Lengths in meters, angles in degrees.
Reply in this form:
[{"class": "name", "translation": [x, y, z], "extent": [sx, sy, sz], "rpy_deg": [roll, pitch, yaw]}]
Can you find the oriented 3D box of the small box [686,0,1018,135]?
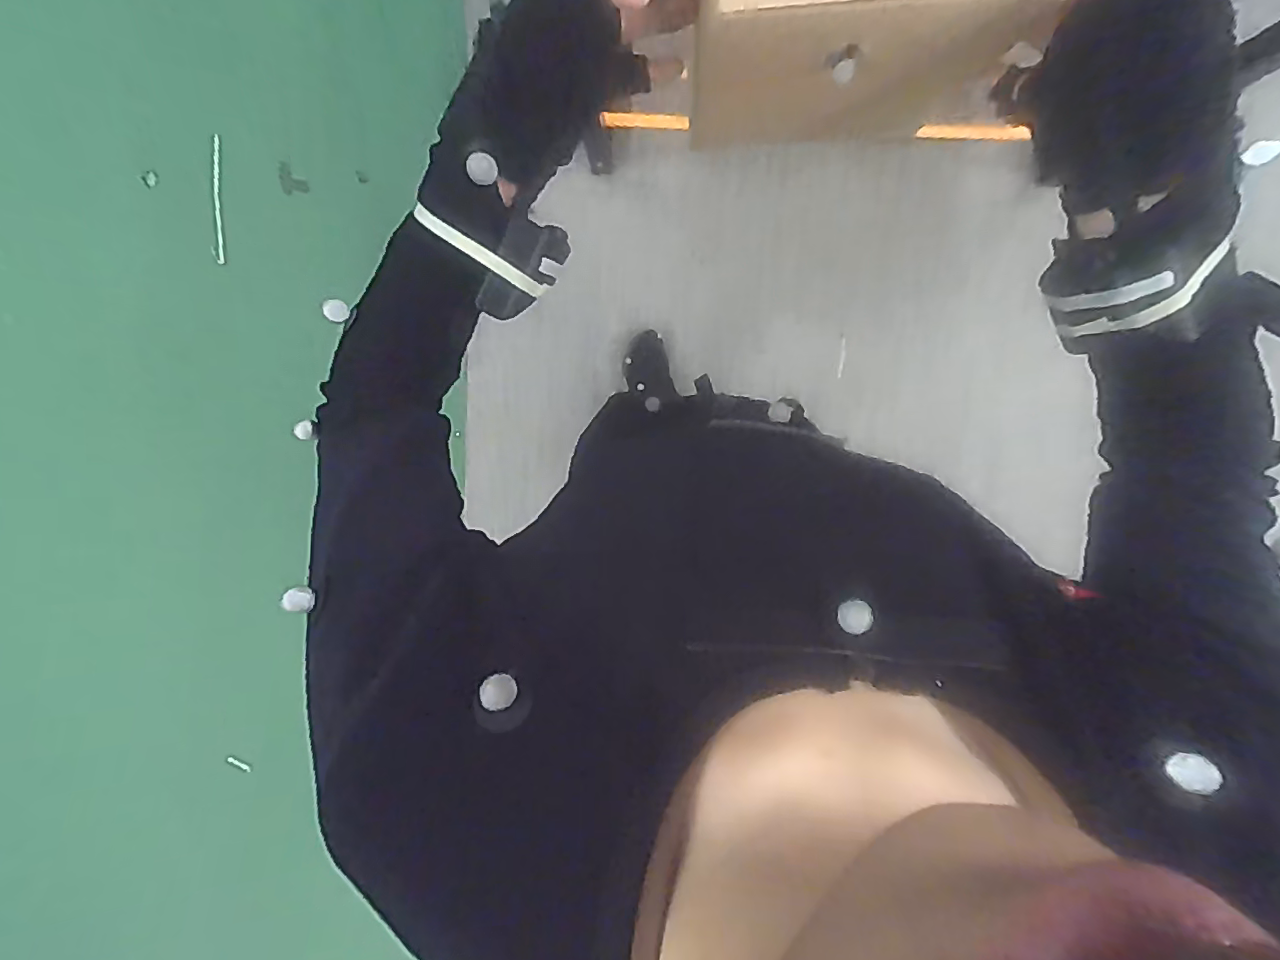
[{"class": "small box", "translation": [0.118, -0.337, 0.332], "extent": [0.179, 0.176, 0.168], "rpy_deg": [-3, 101, 1]}]
